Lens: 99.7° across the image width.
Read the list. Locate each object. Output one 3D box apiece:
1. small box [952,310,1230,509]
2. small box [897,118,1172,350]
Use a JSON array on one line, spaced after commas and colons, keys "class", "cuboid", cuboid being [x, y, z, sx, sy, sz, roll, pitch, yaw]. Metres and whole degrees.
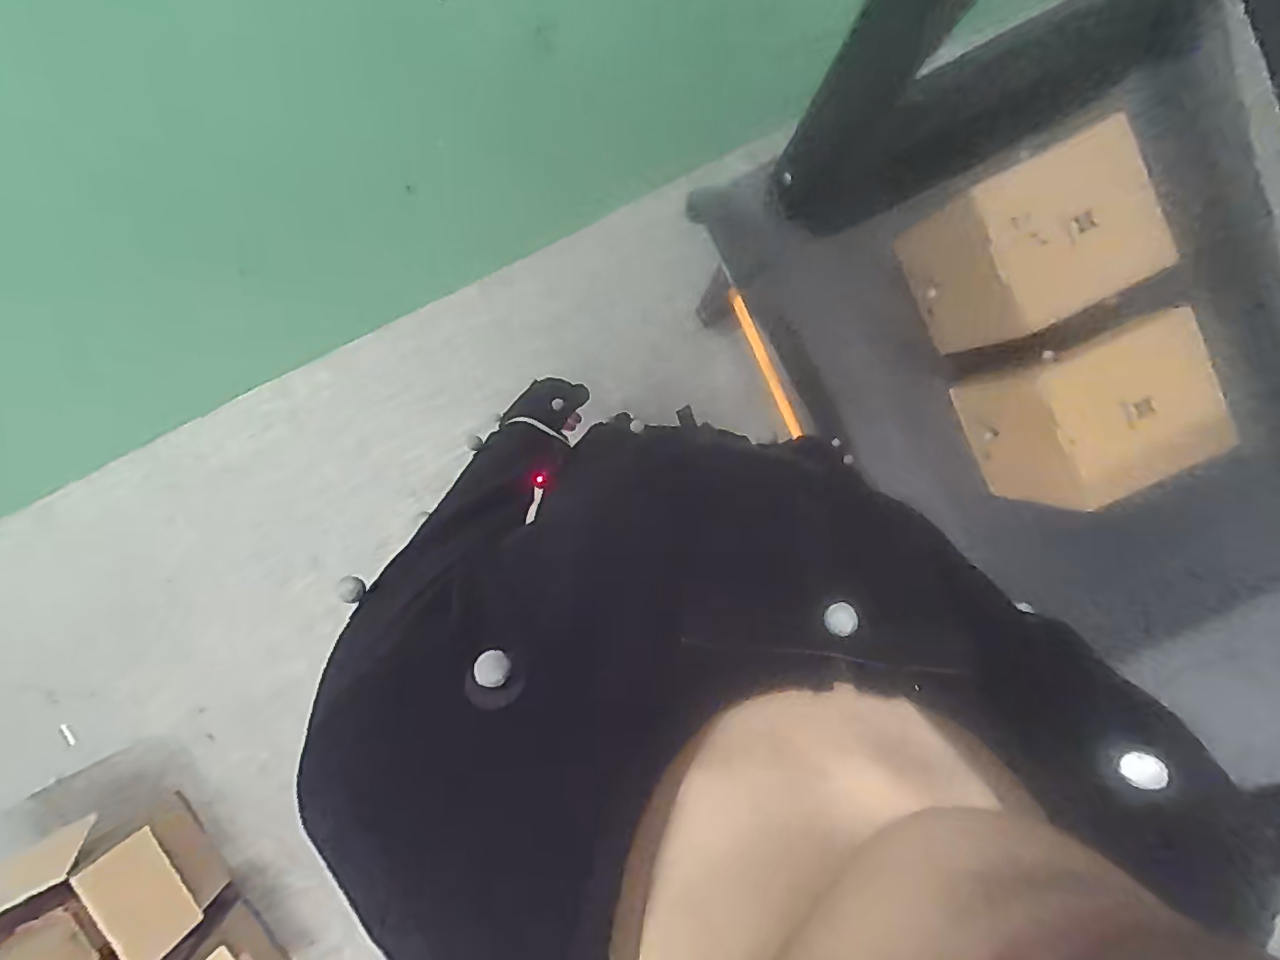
[{"class": "small box", "cuboid": [0.534, -0.084, 0.665, 0.179, 0.176, 0.168, -26, 96, 2]}, {"class": "small box", "cuboid": [0.449, -0.272, 0.642, 0.179, 0.176, 0.168, -26, 96, 2]}]
